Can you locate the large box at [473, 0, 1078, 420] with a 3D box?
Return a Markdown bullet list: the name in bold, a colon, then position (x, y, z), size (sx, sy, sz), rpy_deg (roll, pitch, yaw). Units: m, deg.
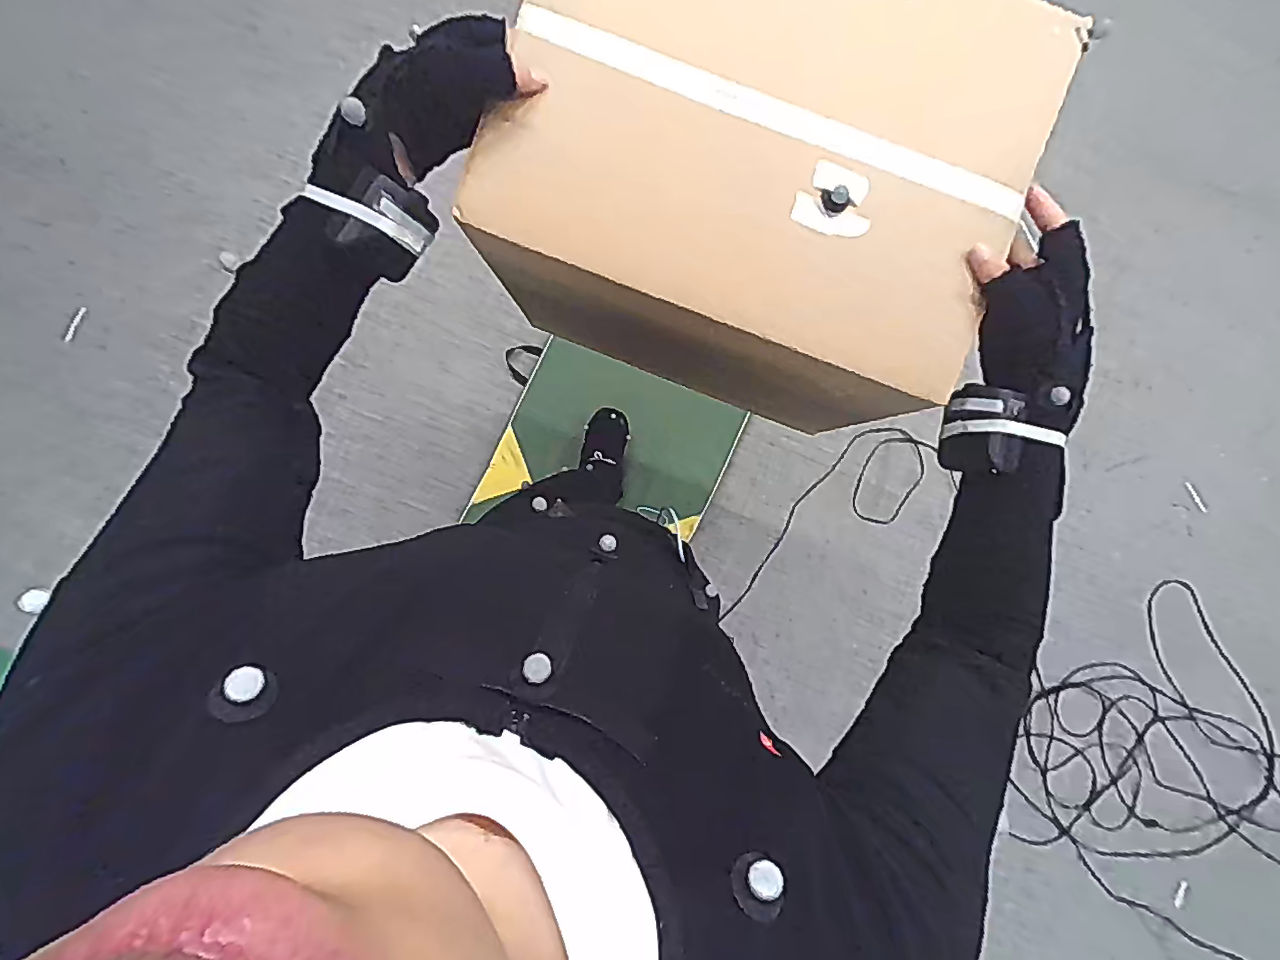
- **large box**: position (0.101, -0.285, 0.564), size (0.408, 0.320, 0.320), rpy_deg (21, 91, -2)
